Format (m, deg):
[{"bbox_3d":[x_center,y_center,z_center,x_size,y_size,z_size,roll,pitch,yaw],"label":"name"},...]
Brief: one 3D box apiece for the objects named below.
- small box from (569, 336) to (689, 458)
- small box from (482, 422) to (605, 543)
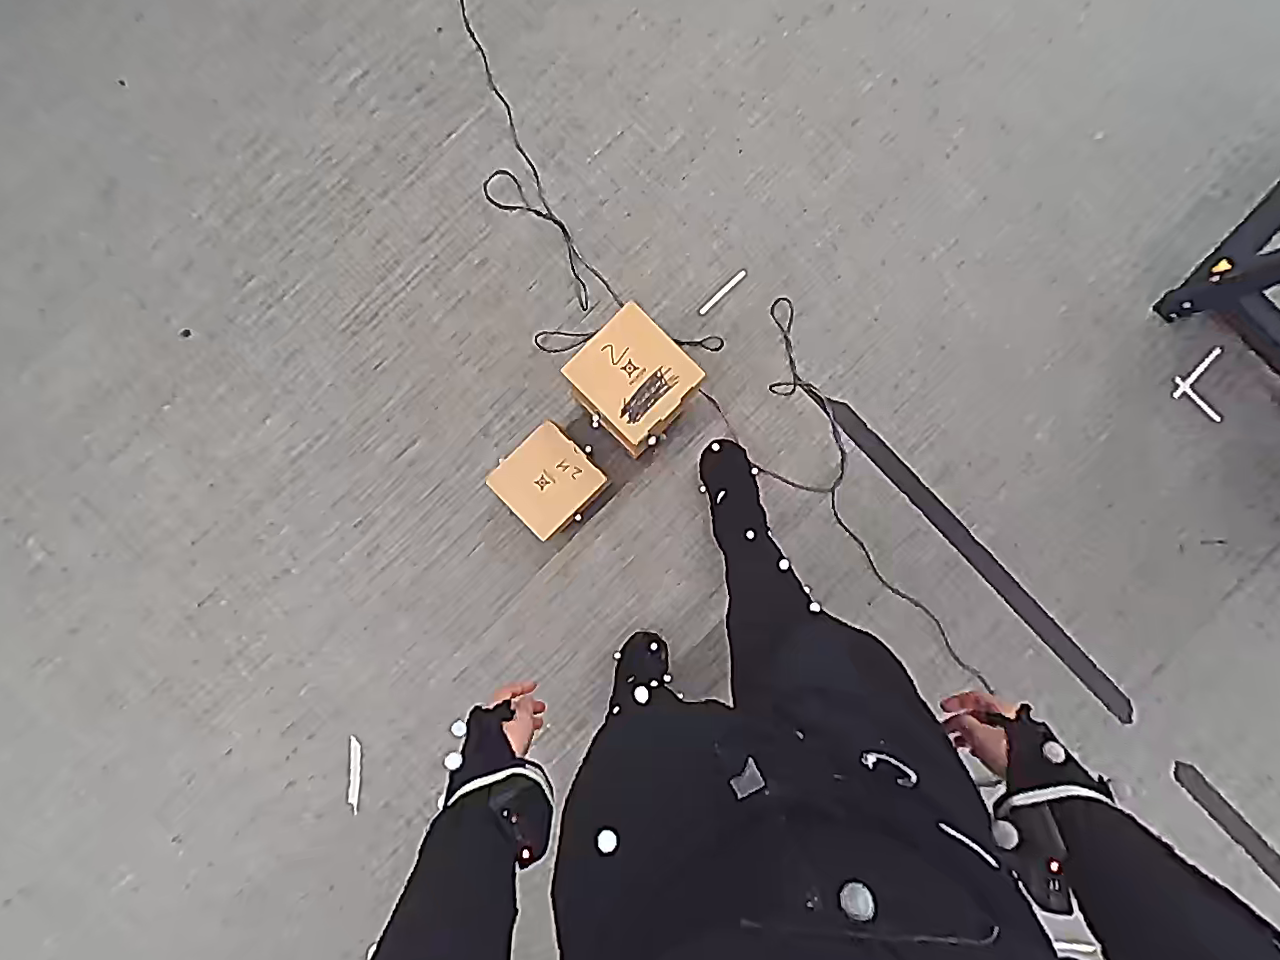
[{"bbox_3d":[-0.023,-0.159,1.115,0.179,0.176,0.168,45,88,0],"label":"small box"},{"bbox_3d":[-0.186,0.006,1.108,0.179,0.176,0.168,-43,90,0],"label":"small box"}]
